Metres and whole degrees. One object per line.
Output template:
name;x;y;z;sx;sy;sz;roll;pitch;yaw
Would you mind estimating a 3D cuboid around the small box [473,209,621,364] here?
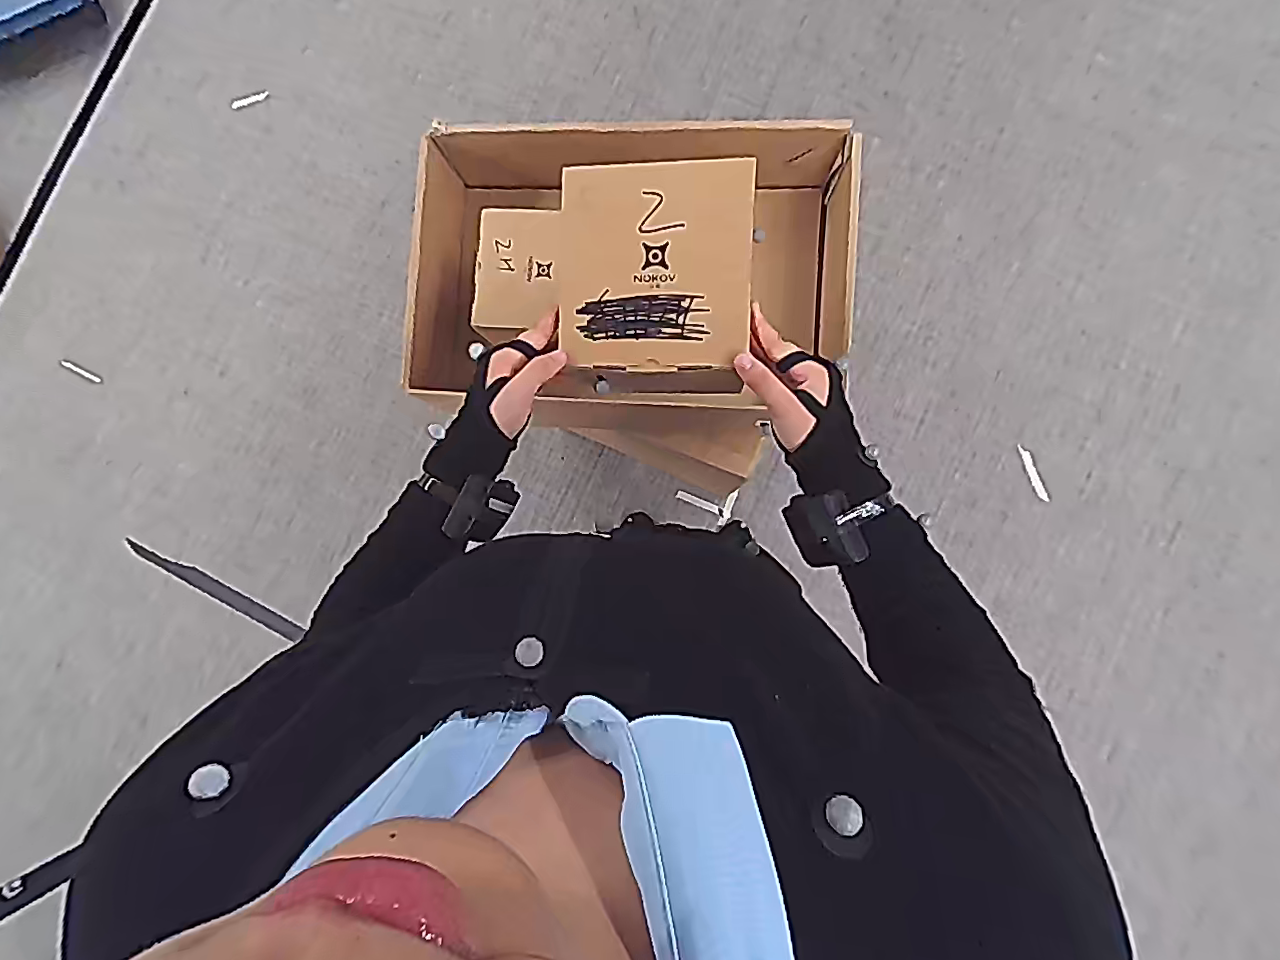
small box;-0.127;-0.276;0.806;0.179;0.176;0.168;5;87;5
